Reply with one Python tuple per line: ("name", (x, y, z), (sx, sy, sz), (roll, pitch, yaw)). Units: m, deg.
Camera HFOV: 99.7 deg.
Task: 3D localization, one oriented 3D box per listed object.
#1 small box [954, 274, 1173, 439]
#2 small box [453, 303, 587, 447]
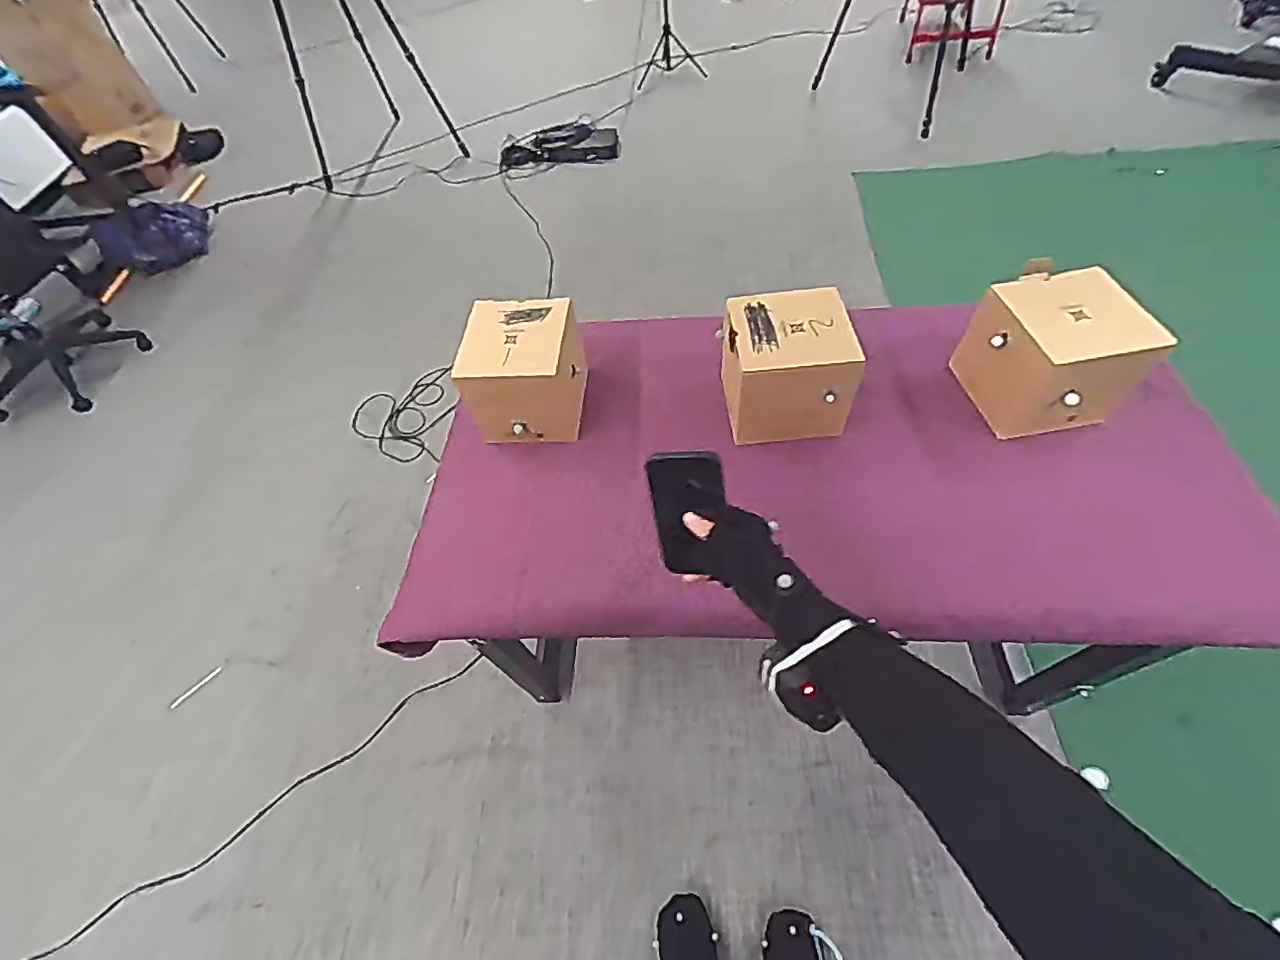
("small box", (0.620, -0.178, 0.823), (0.168, 0.176, 0.179), (-10, 55, 1))
("small box", (-0.189, -0.175, 0.913), (0.168, 0.176, 0.179), (0, 57, 7))
